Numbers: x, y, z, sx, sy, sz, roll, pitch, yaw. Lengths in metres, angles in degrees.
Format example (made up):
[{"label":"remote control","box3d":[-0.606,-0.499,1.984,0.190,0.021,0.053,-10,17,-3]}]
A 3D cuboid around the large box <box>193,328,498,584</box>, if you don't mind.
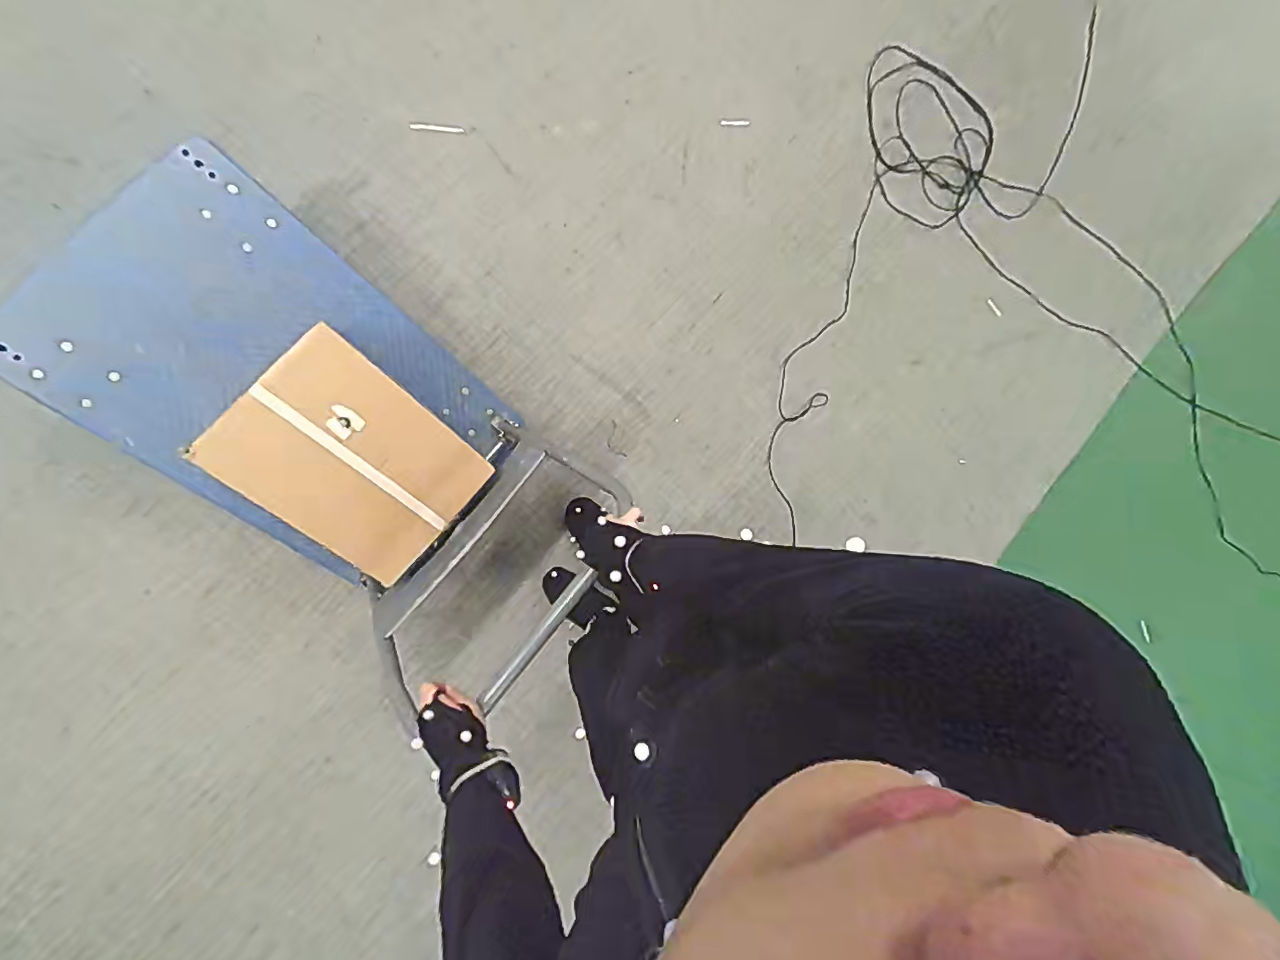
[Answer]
[{"label":"large box","box3d":[-0.572,-0.057,1.123,0.320,0.320,0.408,-50,118,-9]}]
